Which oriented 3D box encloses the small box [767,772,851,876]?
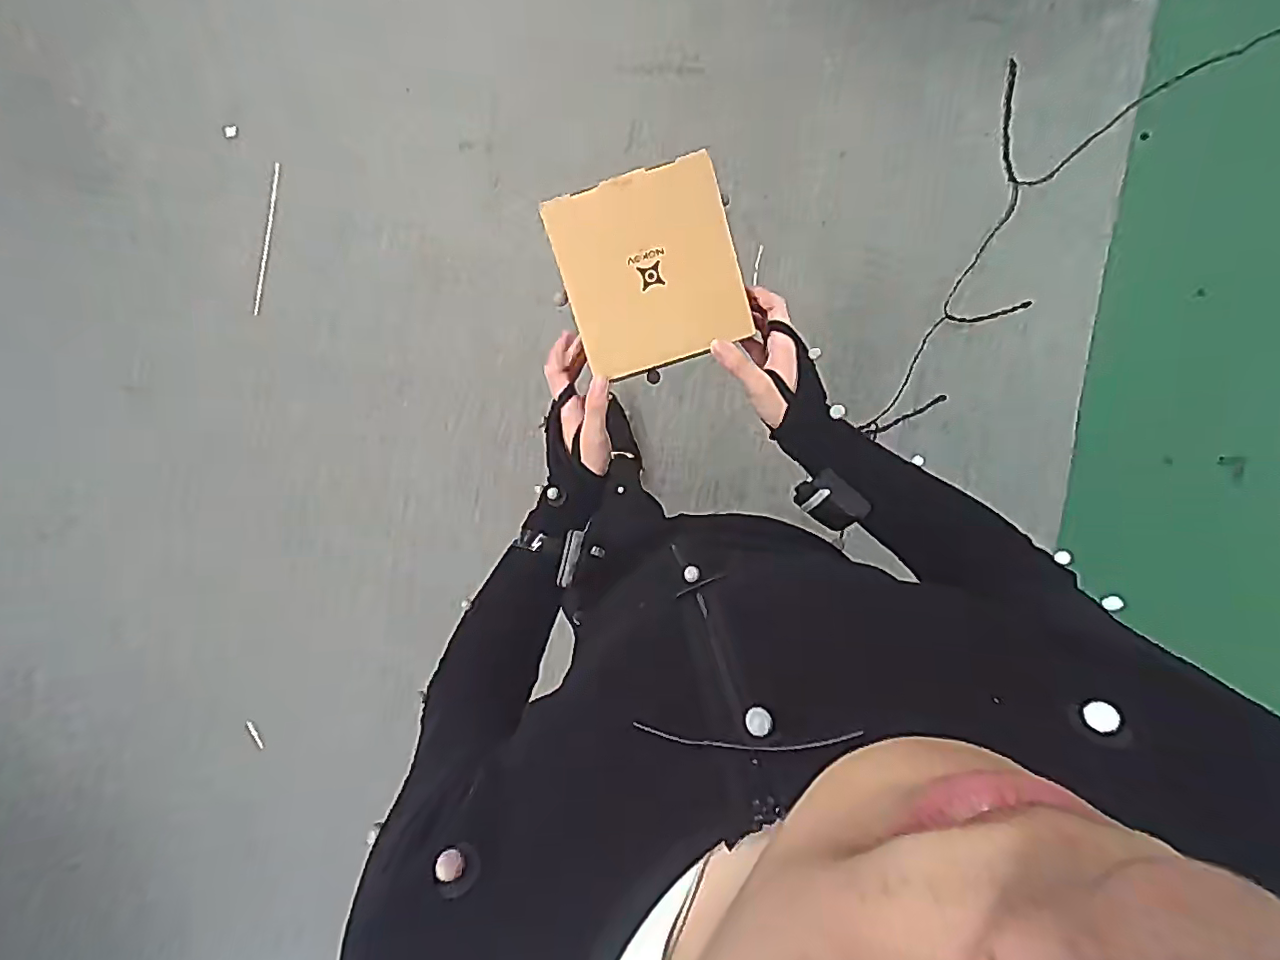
[{"bbox_3d":[0.467,0.957,1.524,0.179,0.176,0.168,13,91,4],"label":"small box"}]
